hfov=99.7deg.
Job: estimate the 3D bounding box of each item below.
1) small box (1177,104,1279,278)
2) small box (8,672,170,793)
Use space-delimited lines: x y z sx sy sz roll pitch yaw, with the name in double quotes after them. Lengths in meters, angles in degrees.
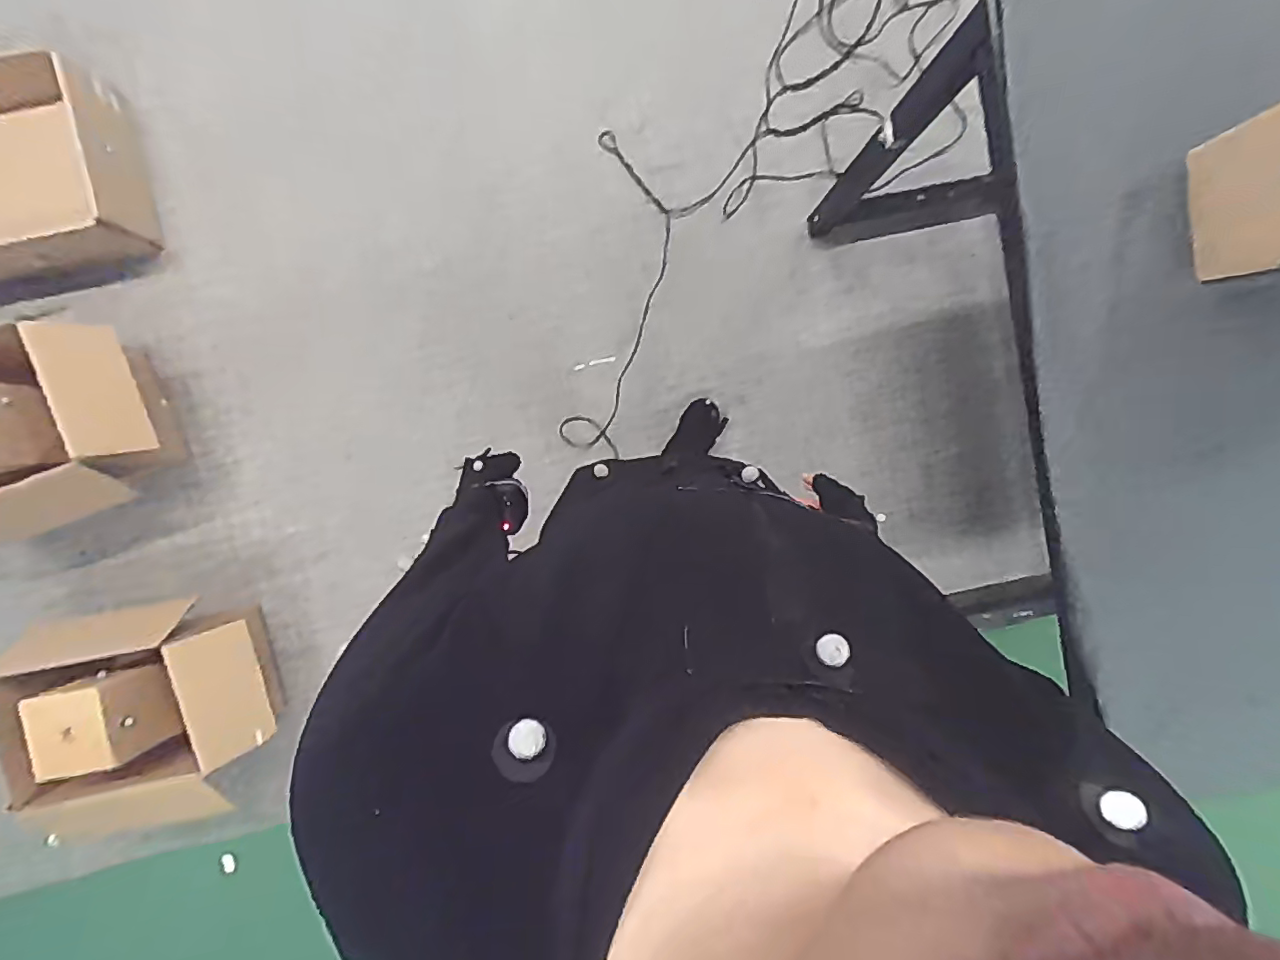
0.835 -0.376 0.678 0.168 0.176 0.179 -10 94 -2 "small box"
-1.178 0.531 1.169 0.168 0.176 0.179 -11 92 -2 "small box"
